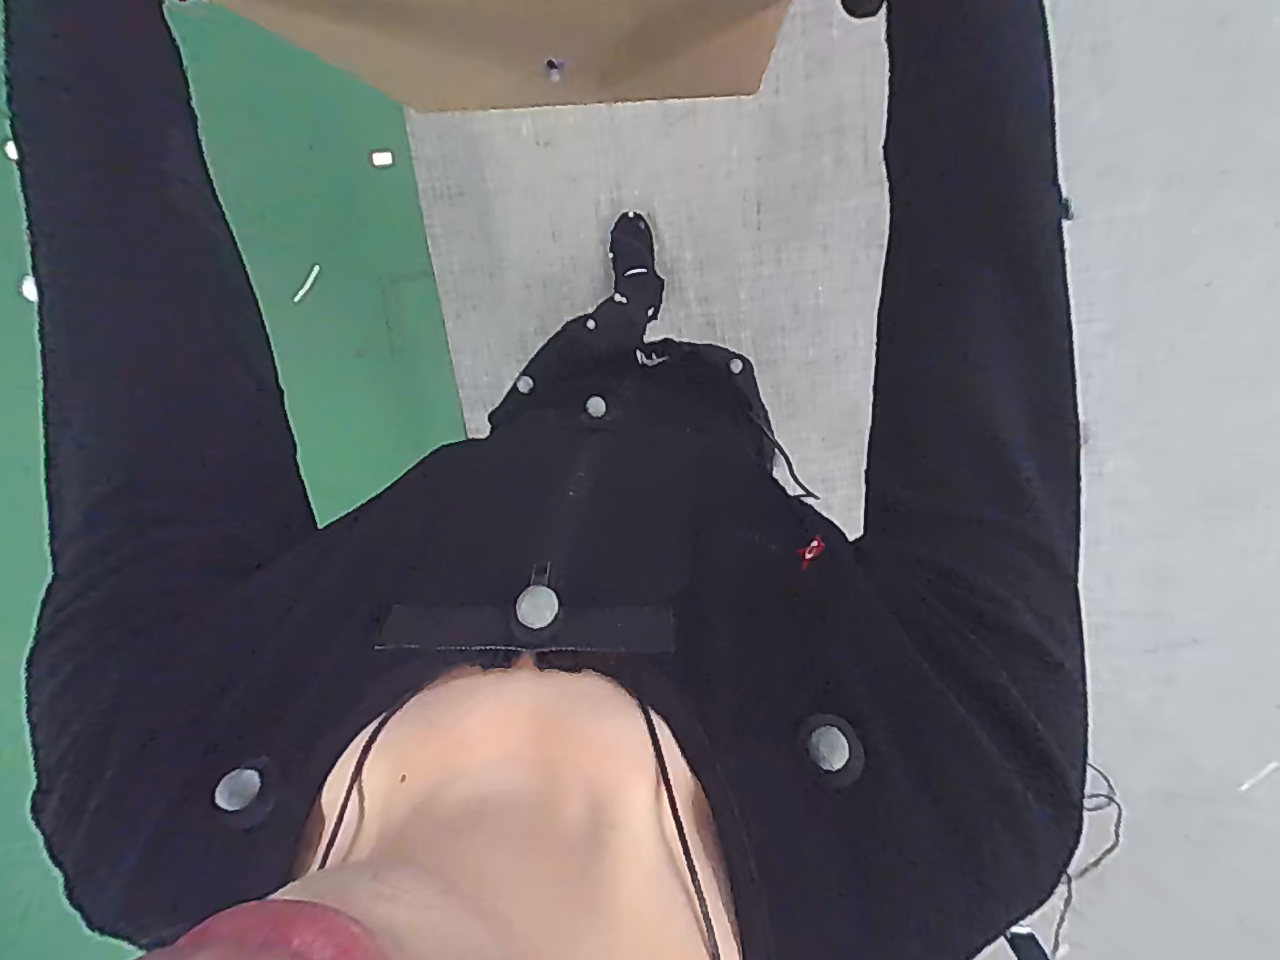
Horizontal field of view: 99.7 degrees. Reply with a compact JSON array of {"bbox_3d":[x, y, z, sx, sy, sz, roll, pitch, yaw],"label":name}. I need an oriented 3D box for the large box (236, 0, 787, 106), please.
[{"bbox_3d":[-0.083,-0.532,0.433,0.408,0.320,0.320,0,110,6],"label":"large box"}]
